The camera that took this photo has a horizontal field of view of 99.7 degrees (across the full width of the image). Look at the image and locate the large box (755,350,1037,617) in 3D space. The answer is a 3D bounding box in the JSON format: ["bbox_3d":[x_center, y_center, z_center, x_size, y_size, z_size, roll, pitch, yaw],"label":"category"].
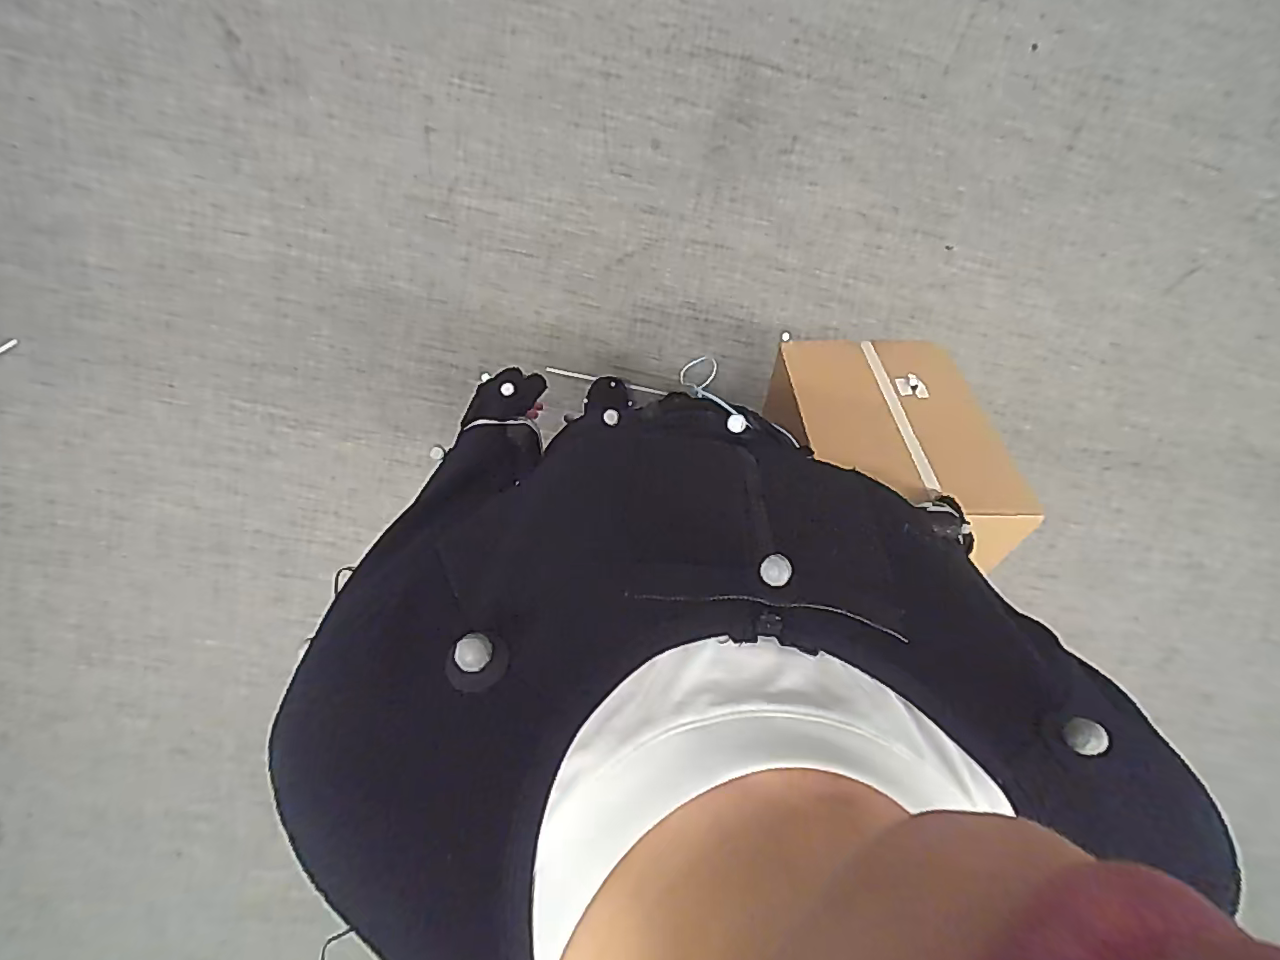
[{"bbox_3d":[0.419,0.005,1.016,0.320,0.408,0.320,0,139,-2],"label":"large box"}]
